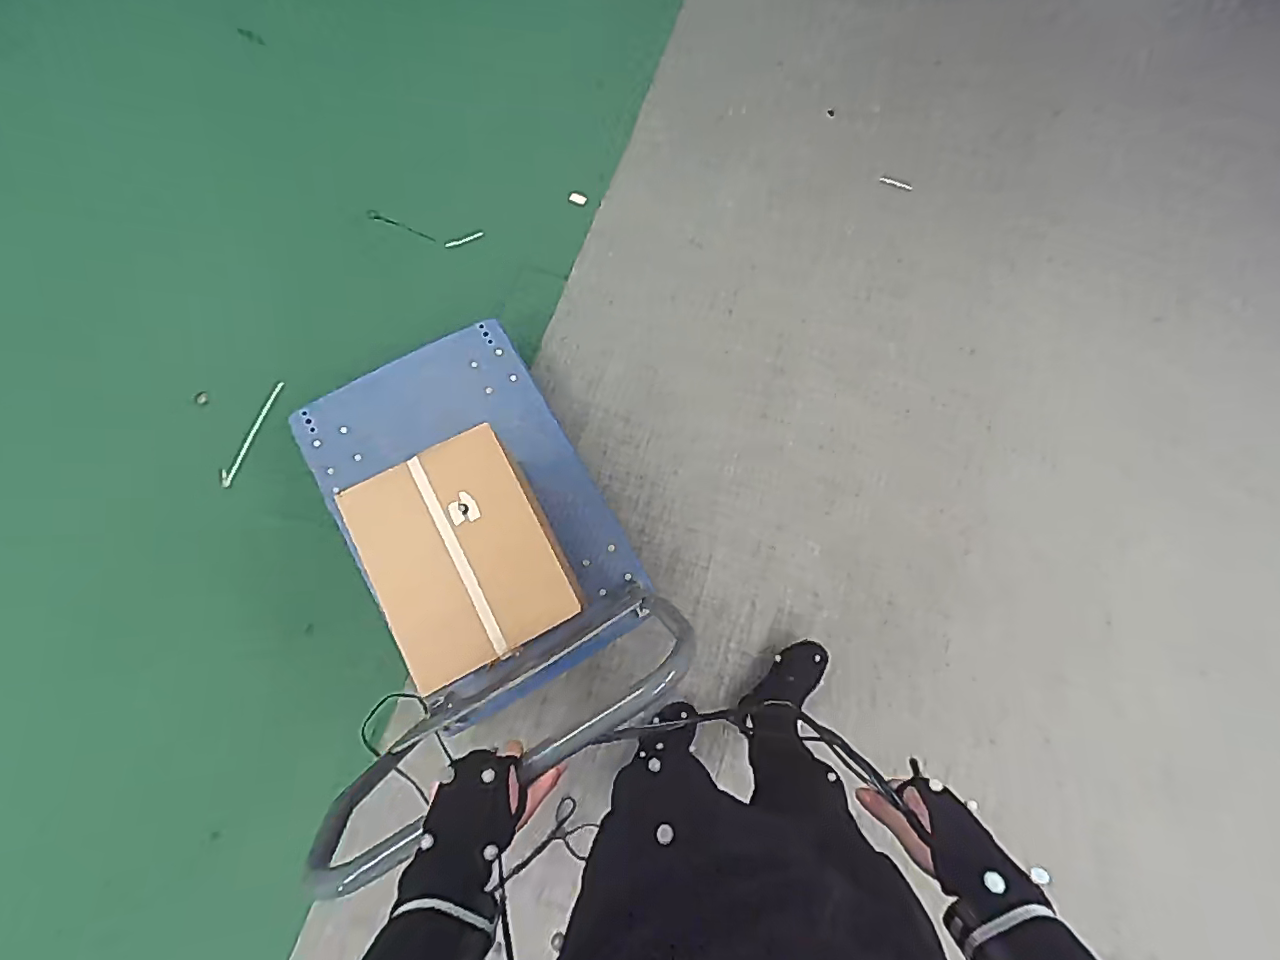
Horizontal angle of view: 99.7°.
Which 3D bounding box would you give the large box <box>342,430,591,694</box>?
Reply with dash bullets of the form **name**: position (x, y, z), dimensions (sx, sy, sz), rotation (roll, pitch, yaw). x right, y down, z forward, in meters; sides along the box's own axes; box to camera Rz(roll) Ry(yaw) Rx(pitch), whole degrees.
- **large box**: position (-0.336, 0.173, 1.142), dimensions (0.320, 0.320, 0.408), rotation (-27, 79, -9)
